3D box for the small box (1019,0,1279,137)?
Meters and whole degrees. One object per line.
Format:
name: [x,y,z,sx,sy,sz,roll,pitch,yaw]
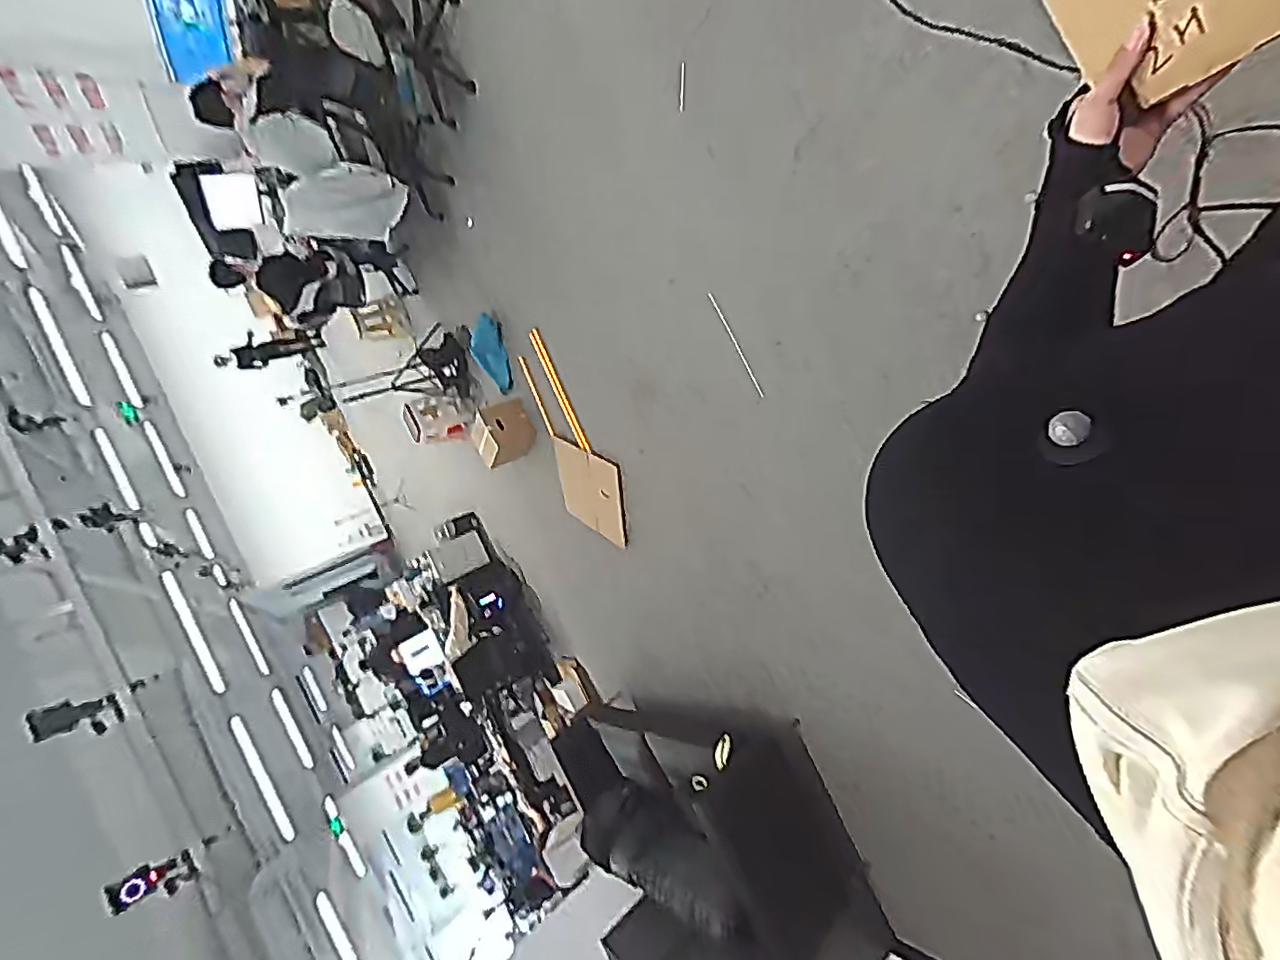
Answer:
small box: [0.467,-0.445,0.443,0.179,0.176,0.168,49,172,-11]
